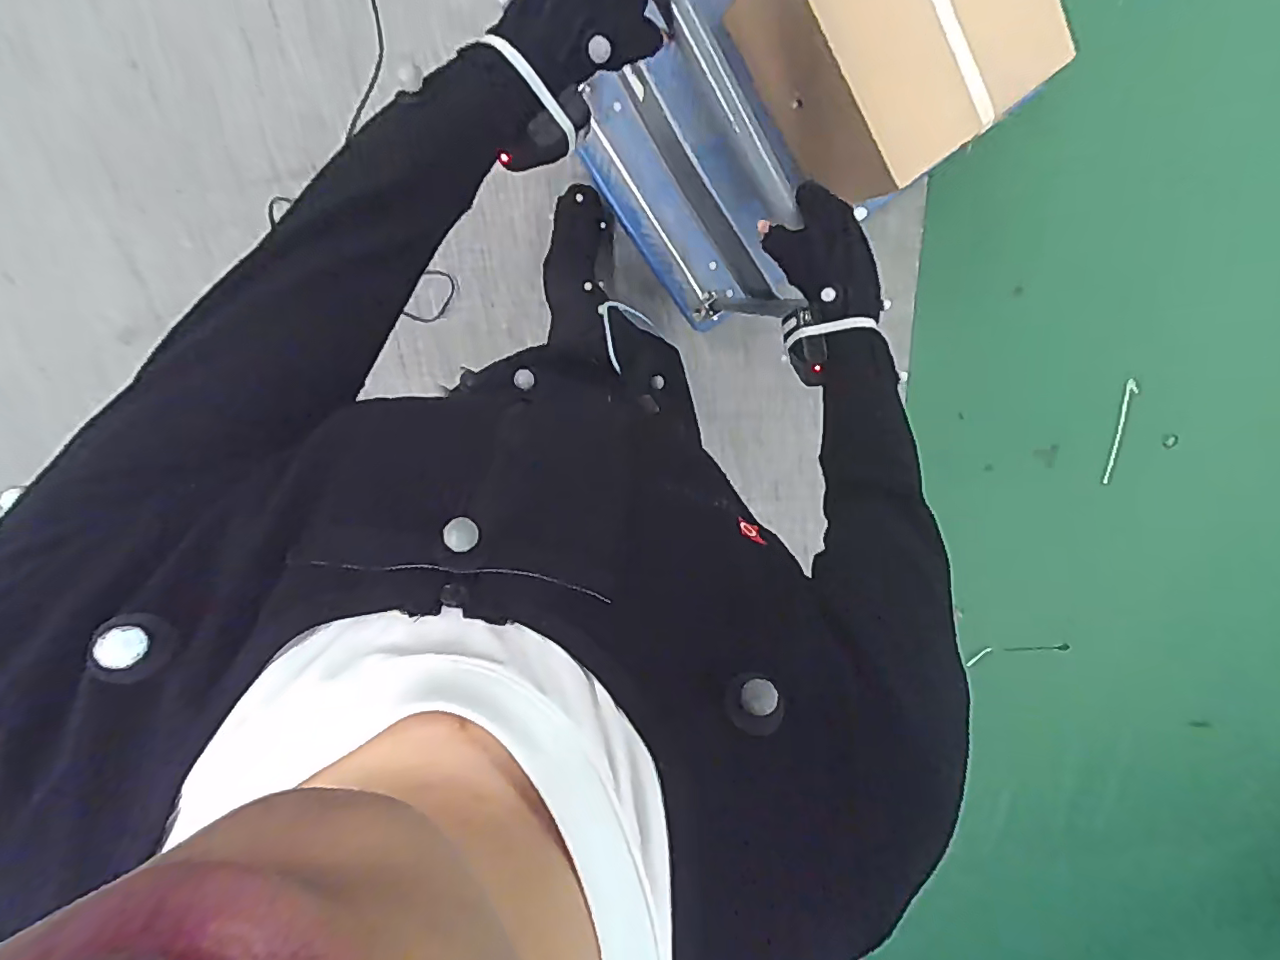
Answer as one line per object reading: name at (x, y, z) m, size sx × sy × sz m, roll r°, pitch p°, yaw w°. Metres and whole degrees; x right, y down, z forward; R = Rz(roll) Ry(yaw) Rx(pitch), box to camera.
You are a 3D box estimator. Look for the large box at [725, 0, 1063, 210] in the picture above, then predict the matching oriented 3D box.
large box at (0.406, -0.754, 0.934) m, size 0.320 × 0.320 × 0.408 m, roll -36°, pitch 109°, yaw 8°
